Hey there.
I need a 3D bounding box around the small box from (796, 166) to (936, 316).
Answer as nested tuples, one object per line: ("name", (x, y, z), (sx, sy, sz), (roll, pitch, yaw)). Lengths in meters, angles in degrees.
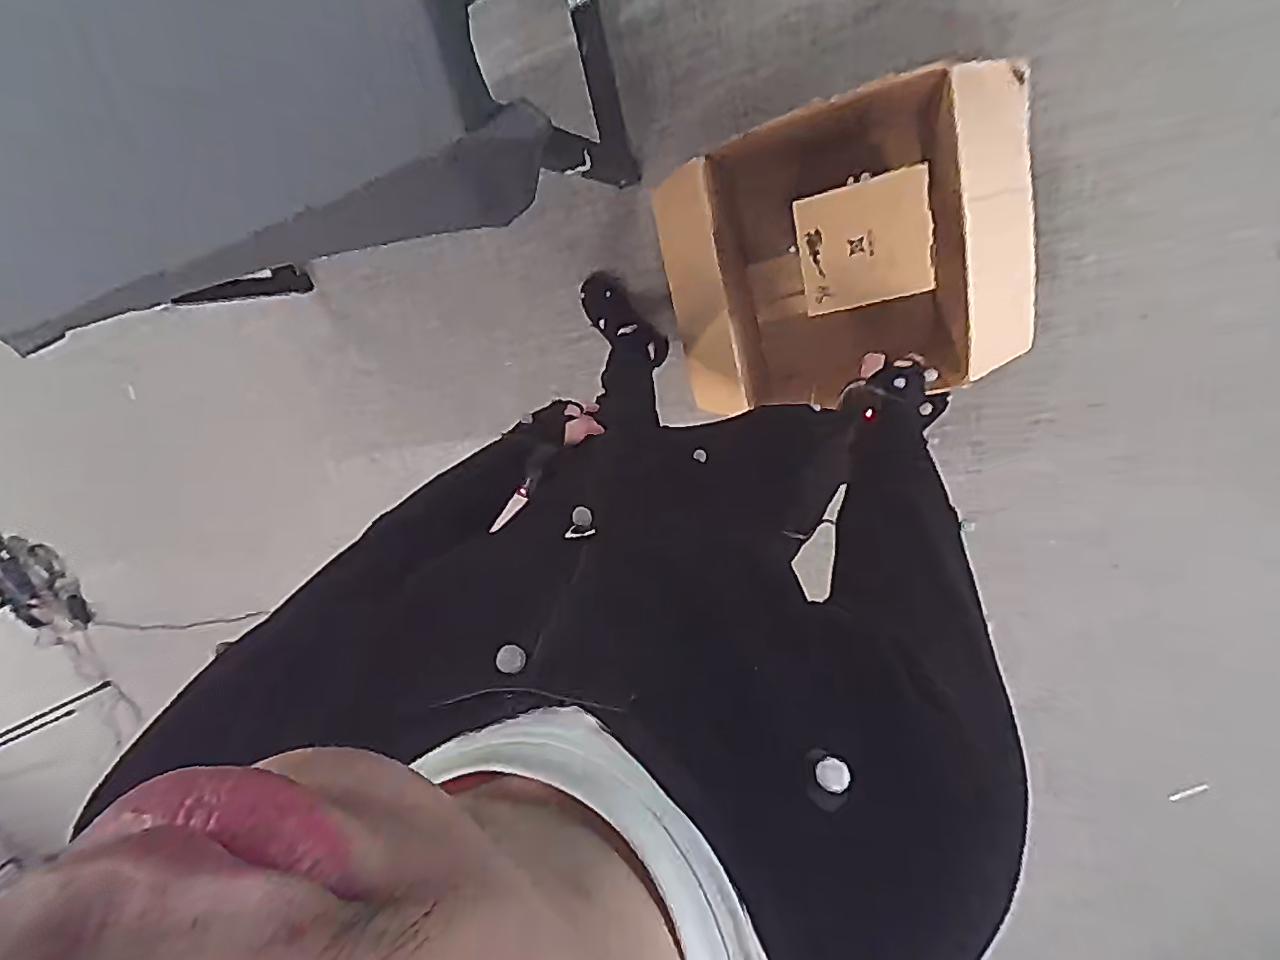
("small box", (0.341, -0.365, 0.836), (0.179, 0.176, 0.168), (-7, 111, 20))
